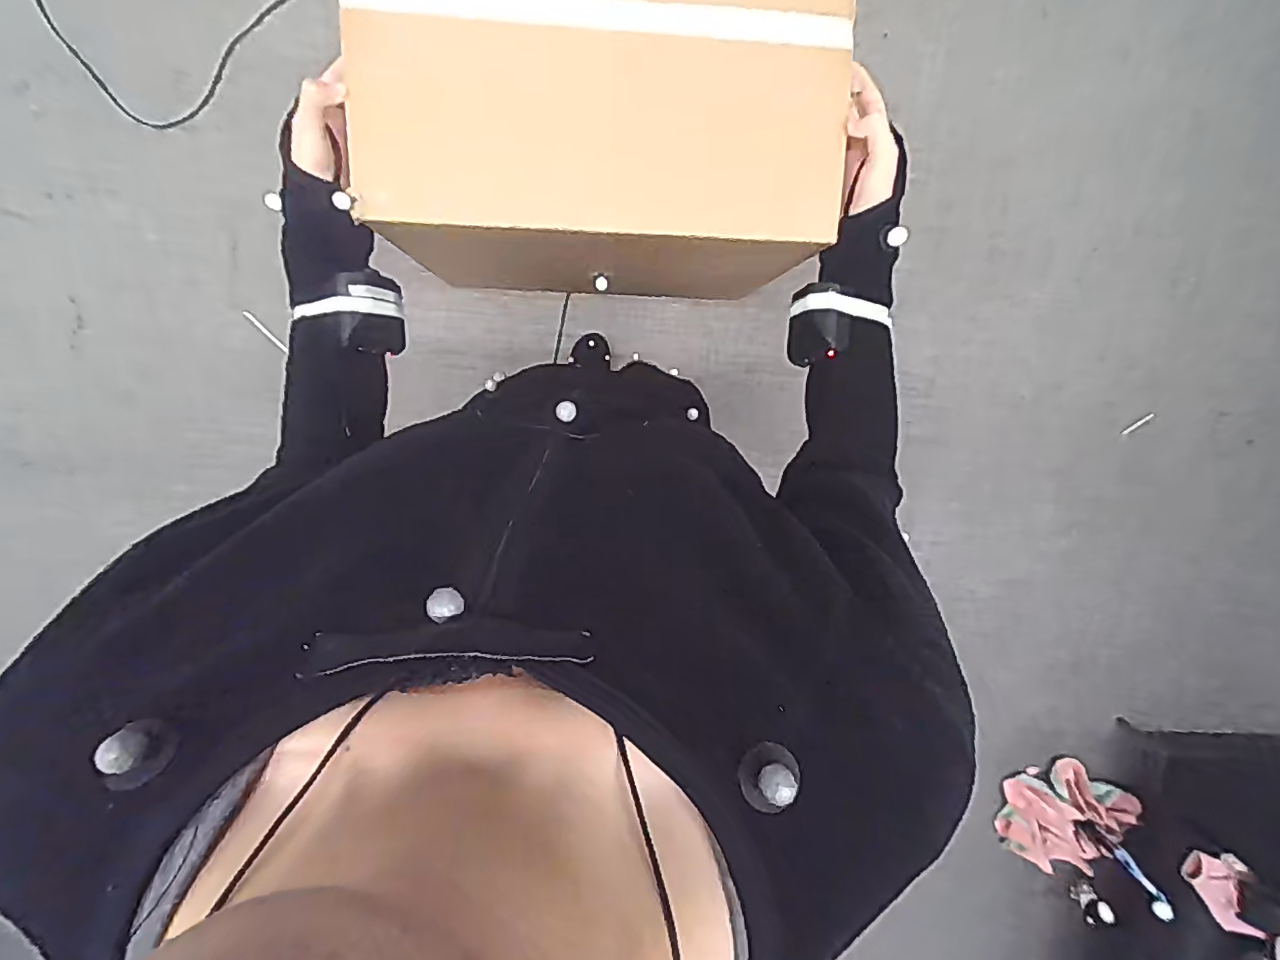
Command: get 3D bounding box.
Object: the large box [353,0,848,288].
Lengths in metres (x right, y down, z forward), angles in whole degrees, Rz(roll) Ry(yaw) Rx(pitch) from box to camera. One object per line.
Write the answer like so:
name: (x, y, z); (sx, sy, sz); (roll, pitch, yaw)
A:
large box: (-0.037, -0.392, 0.583); (0.408, 0.320, 0.320); (1, 100, -5)
